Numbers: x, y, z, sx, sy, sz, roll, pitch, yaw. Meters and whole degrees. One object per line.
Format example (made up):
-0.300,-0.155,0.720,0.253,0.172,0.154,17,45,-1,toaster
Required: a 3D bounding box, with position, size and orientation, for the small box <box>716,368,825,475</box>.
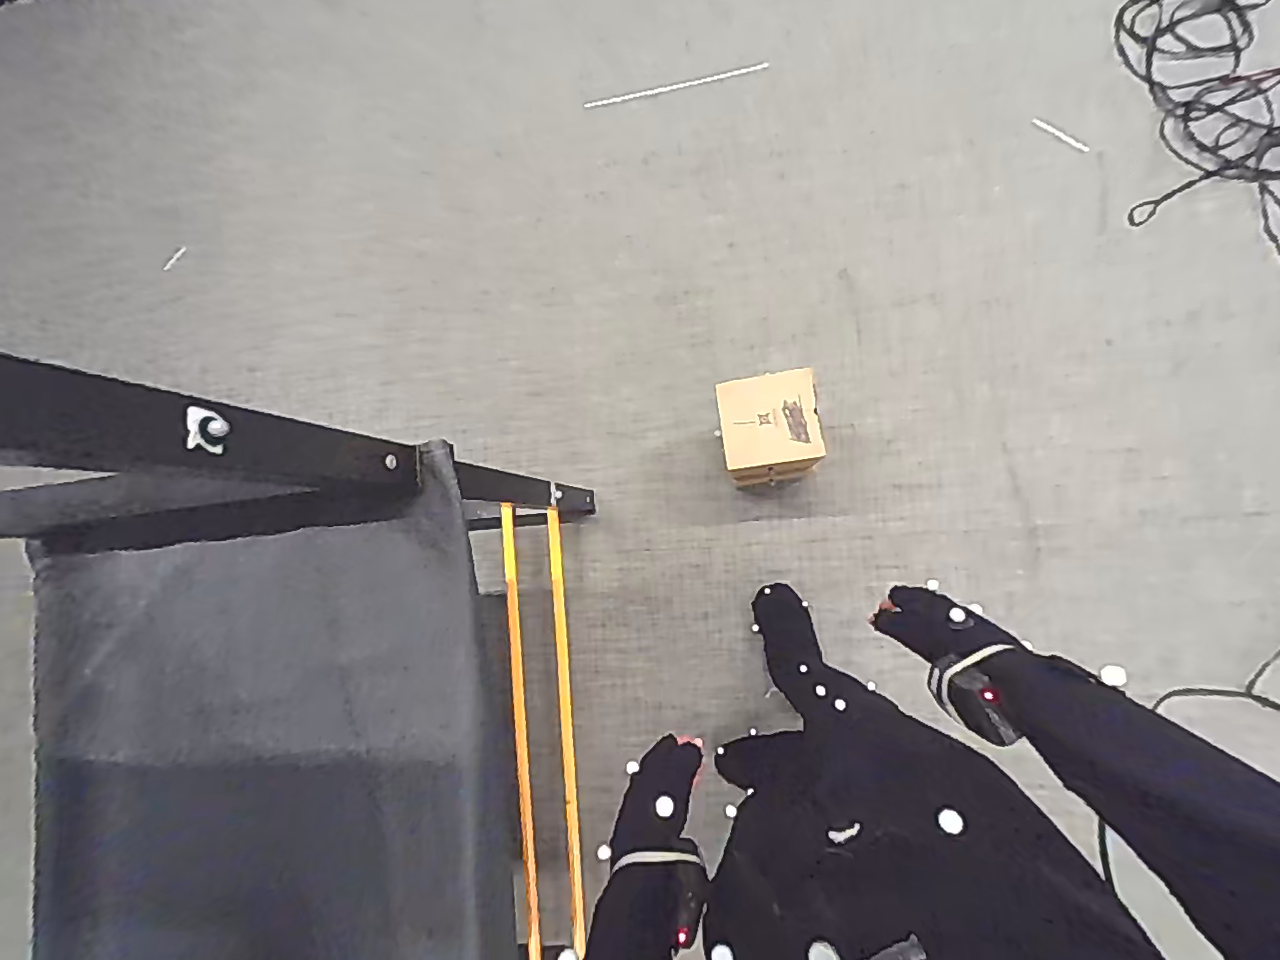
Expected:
0.248,-0.105,1.047,0.179,0.176,0.168,-8,84,11,small box
